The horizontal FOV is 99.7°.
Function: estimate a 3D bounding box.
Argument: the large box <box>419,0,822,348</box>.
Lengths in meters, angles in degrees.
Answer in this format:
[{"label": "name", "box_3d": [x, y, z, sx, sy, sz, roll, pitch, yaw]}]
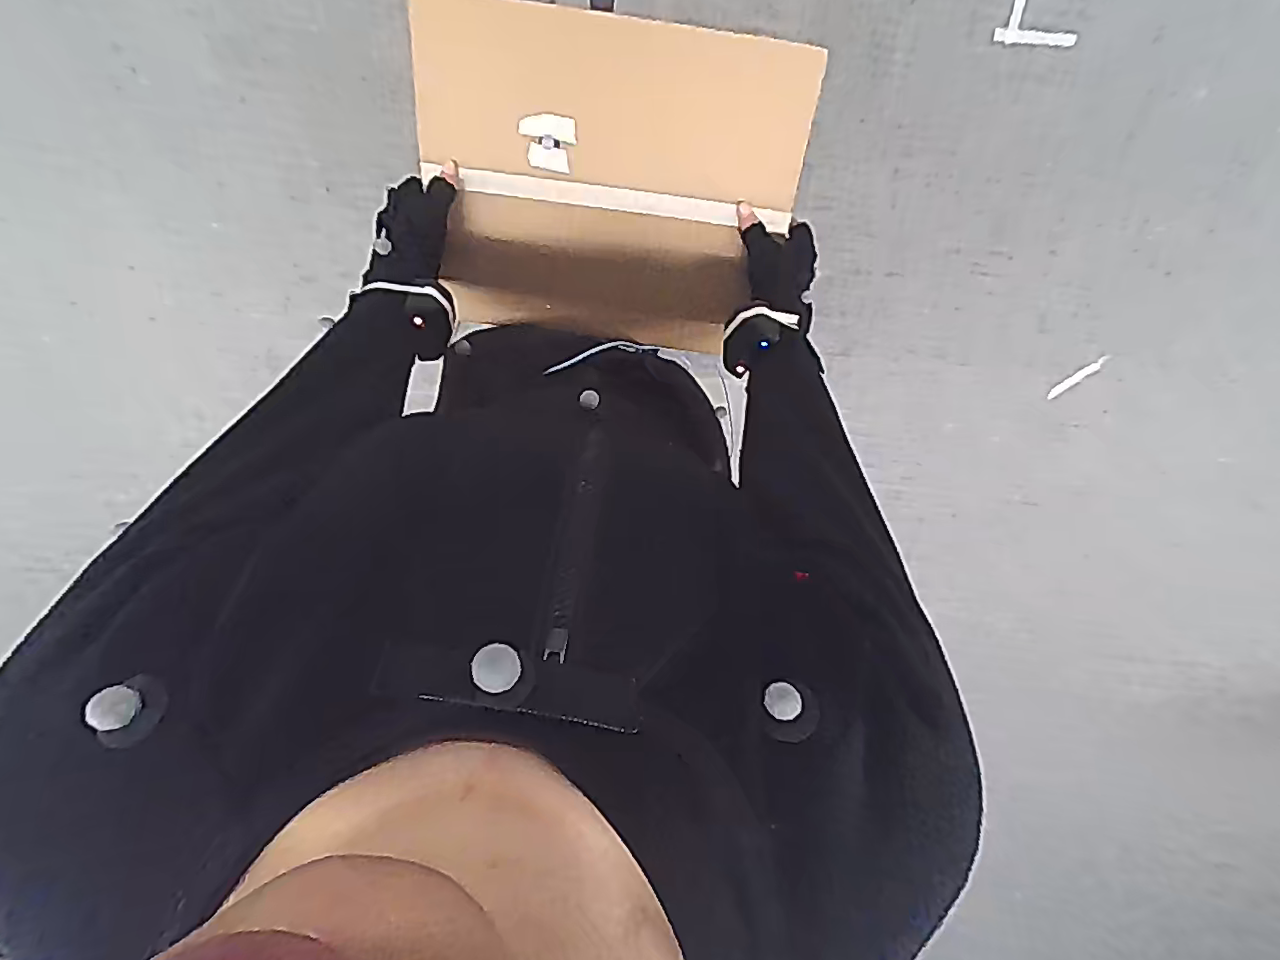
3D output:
[{"label": "large box", "box_3d": [-0.026, -0.398, 0.725, 0.408, 0.320, 0.320, 8, 121, -2]}]
